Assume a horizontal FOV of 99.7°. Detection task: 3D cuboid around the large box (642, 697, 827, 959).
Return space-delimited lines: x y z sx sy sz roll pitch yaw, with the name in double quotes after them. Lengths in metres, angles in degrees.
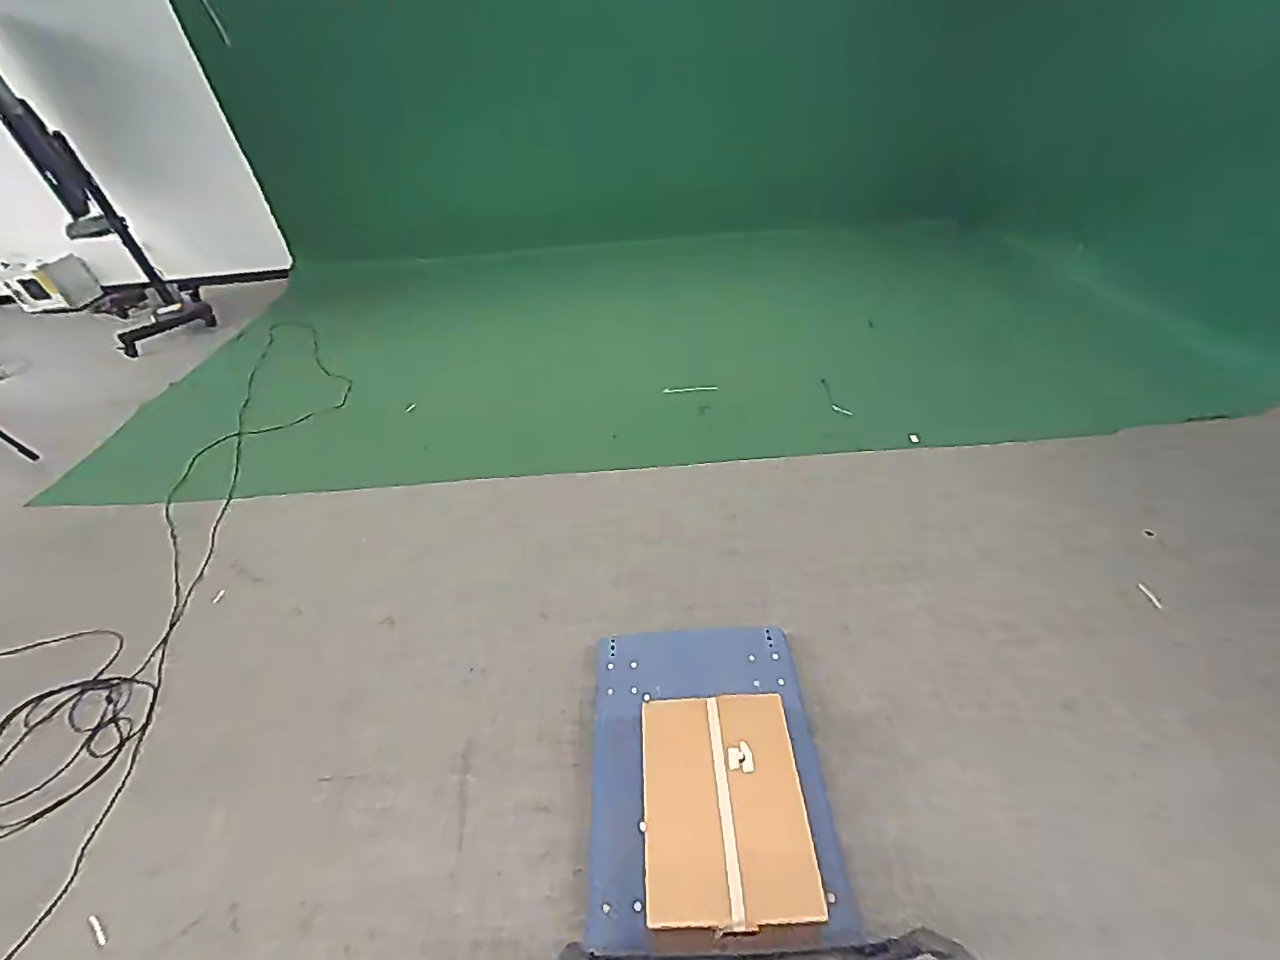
0.175 0.741 1.165 0.320 0.320 0.408 -3 40 2 "large box"
